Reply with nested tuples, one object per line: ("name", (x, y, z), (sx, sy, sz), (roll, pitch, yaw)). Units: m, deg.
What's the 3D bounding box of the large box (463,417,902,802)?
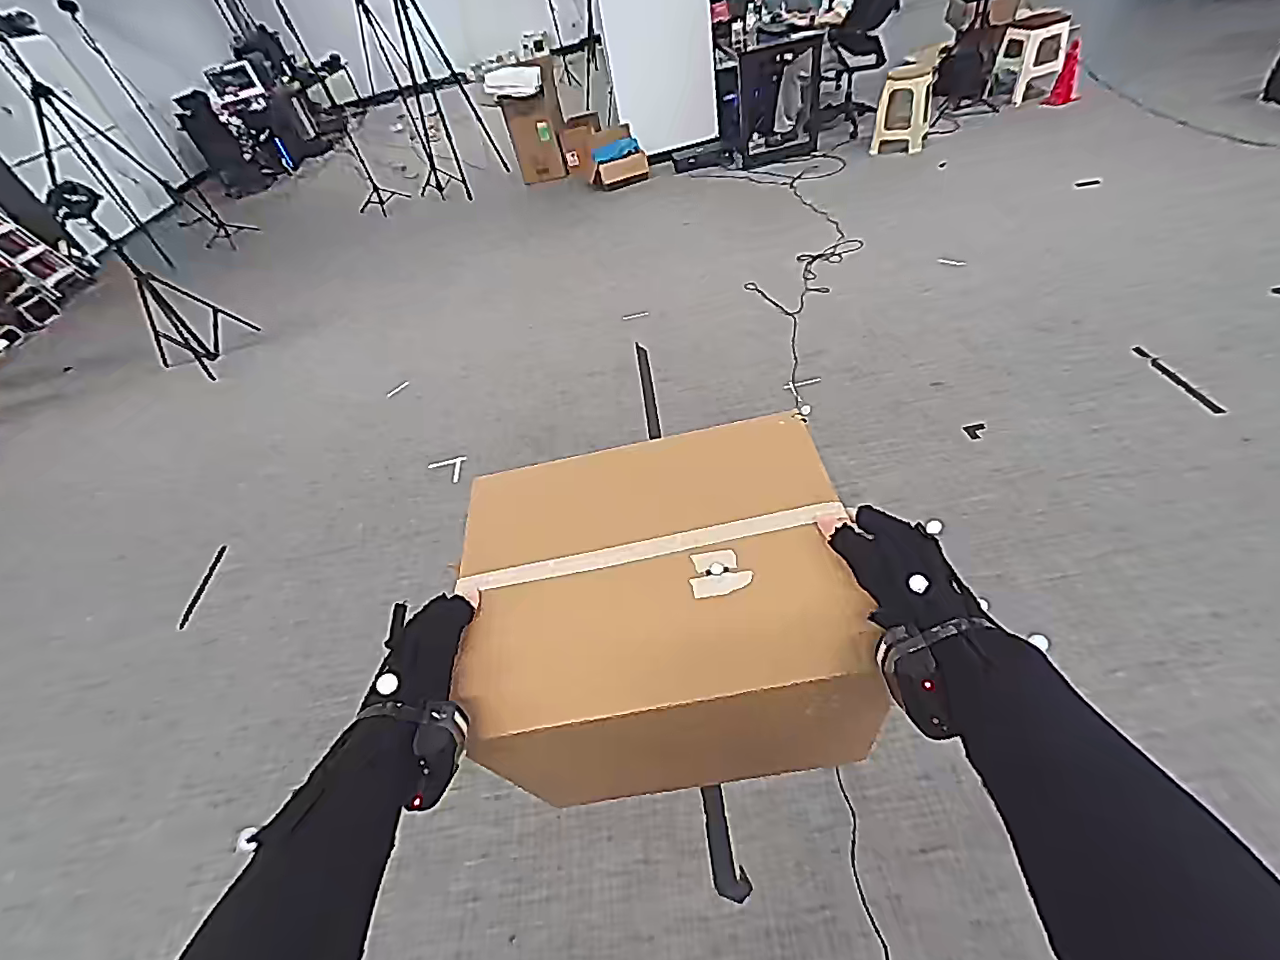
("large box", (0.041, 0.171, 0.679), (0.408, 0.320, 0.320), (-11, 49, 4))
